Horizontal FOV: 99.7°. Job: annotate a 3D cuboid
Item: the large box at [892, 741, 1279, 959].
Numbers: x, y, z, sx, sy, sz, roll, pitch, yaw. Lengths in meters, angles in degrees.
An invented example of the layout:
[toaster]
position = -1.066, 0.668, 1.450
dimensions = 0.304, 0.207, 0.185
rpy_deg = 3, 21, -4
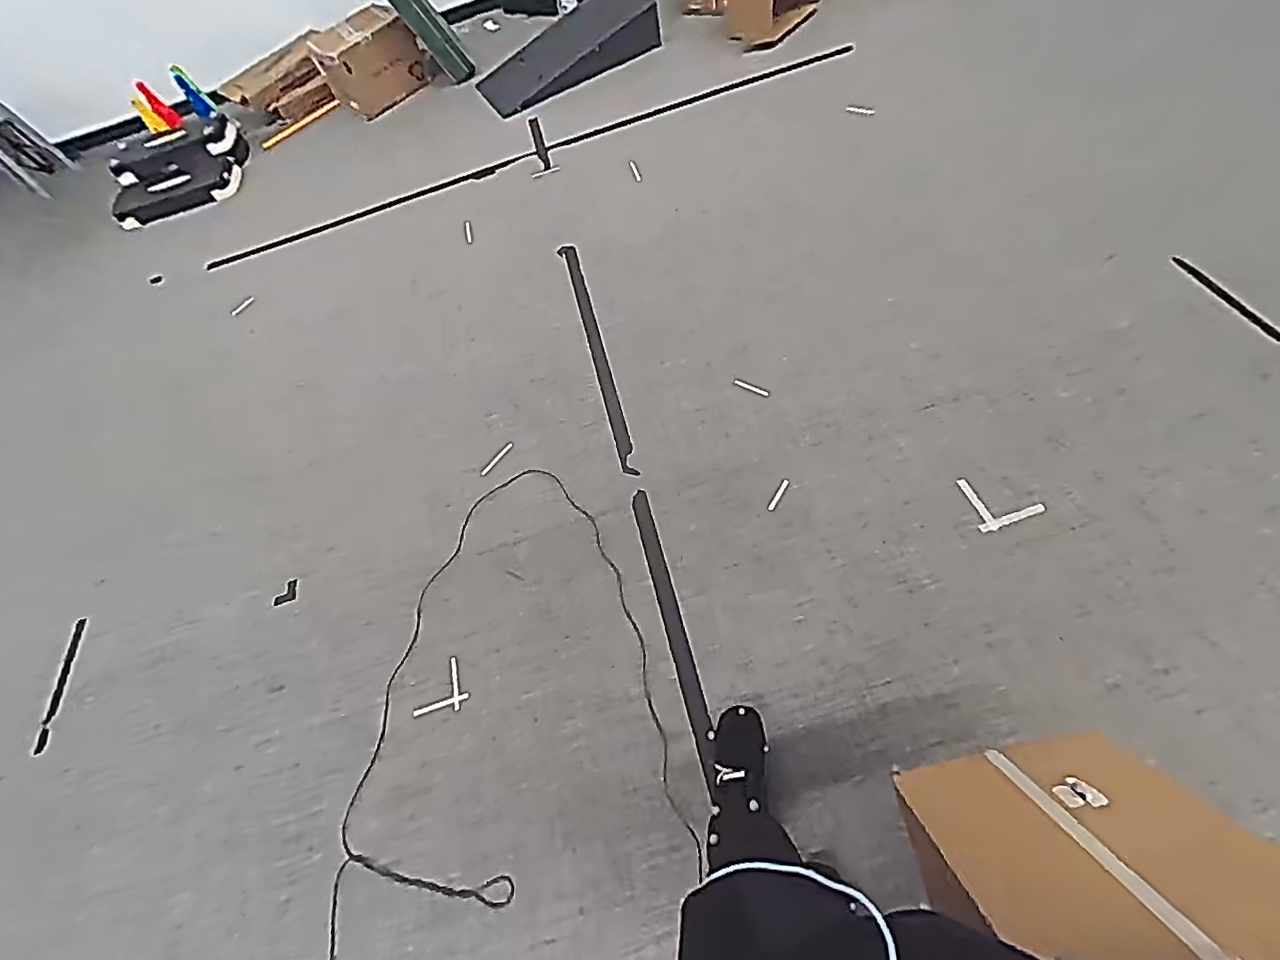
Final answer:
[large box]
position = 0.580, 0.594, 0.658
dimensions = 0.320, 0.408, 0.320
rpy_deg = -15, 89, 4
